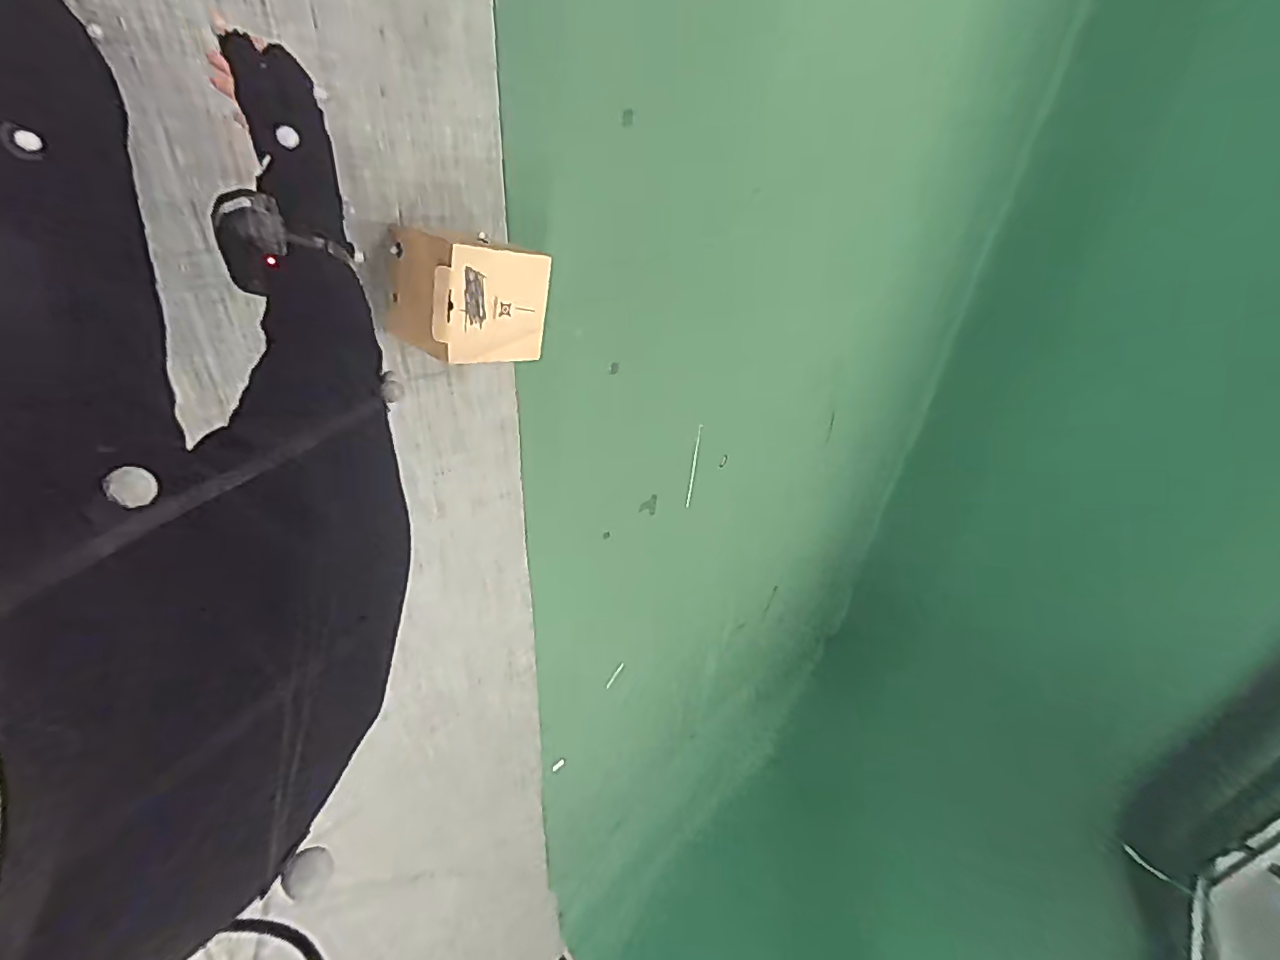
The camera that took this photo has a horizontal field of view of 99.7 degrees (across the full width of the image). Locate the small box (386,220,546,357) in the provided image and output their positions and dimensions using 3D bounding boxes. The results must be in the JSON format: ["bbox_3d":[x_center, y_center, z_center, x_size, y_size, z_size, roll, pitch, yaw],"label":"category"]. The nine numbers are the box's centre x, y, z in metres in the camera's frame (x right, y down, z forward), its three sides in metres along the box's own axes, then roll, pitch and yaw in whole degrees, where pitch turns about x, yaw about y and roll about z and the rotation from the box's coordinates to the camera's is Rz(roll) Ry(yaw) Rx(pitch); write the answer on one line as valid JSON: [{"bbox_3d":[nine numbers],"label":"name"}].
[{"bbox_3d":[-0.275,-0.296,0.842,0.179,0.176,0.168,-18,129,-48],"label":"small box"}]
